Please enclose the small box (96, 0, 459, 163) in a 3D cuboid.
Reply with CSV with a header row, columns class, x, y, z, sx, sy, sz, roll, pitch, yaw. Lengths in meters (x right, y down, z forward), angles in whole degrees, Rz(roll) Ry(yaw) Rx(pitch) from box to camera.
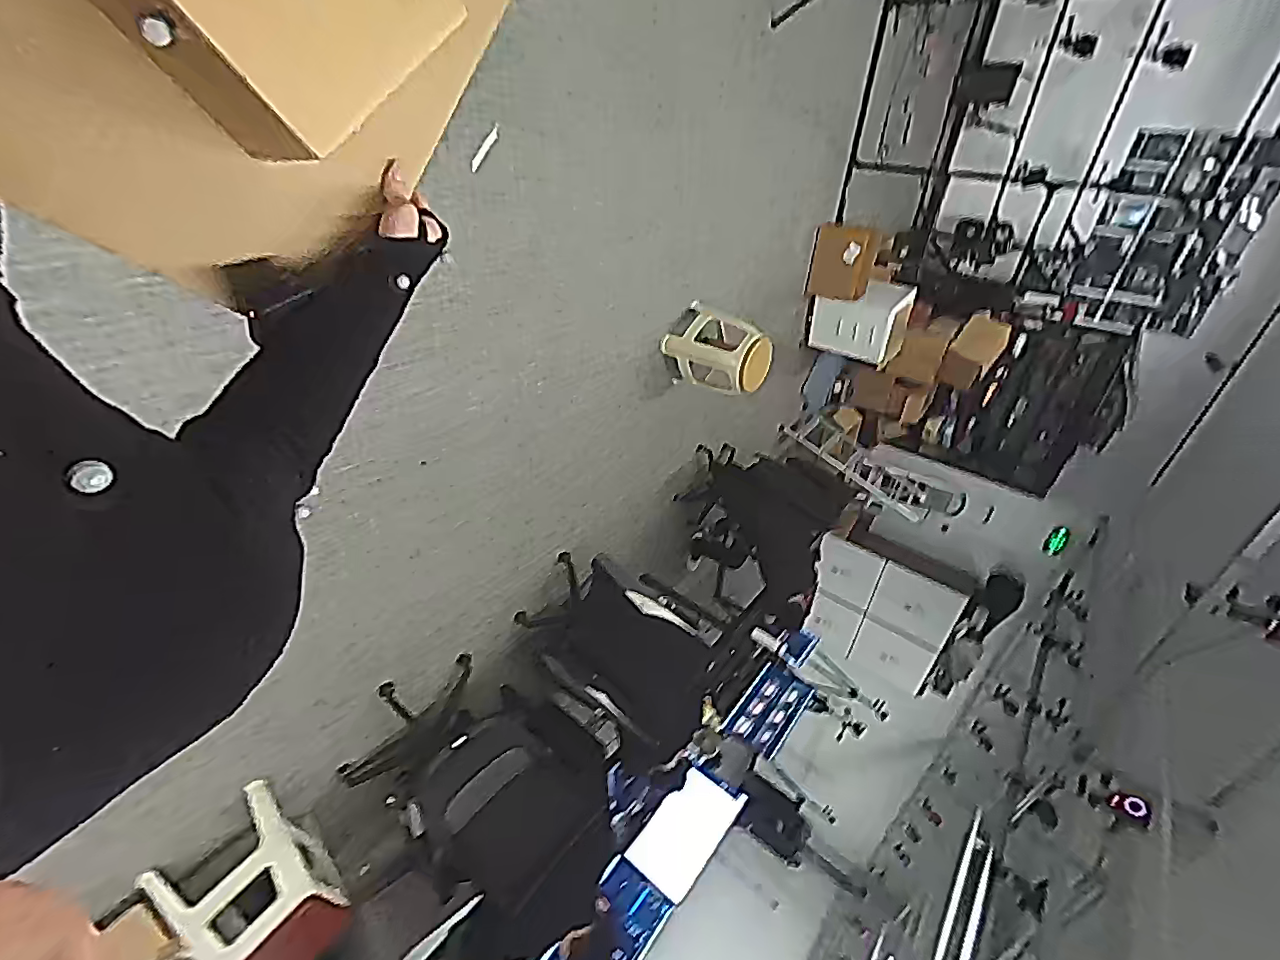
class,x,y,z,sx,sy,sz,roll,pitch,yaw
small box,-0.277,-0.365,0.391,0.168,0.176,0.179,-55,140,-10
